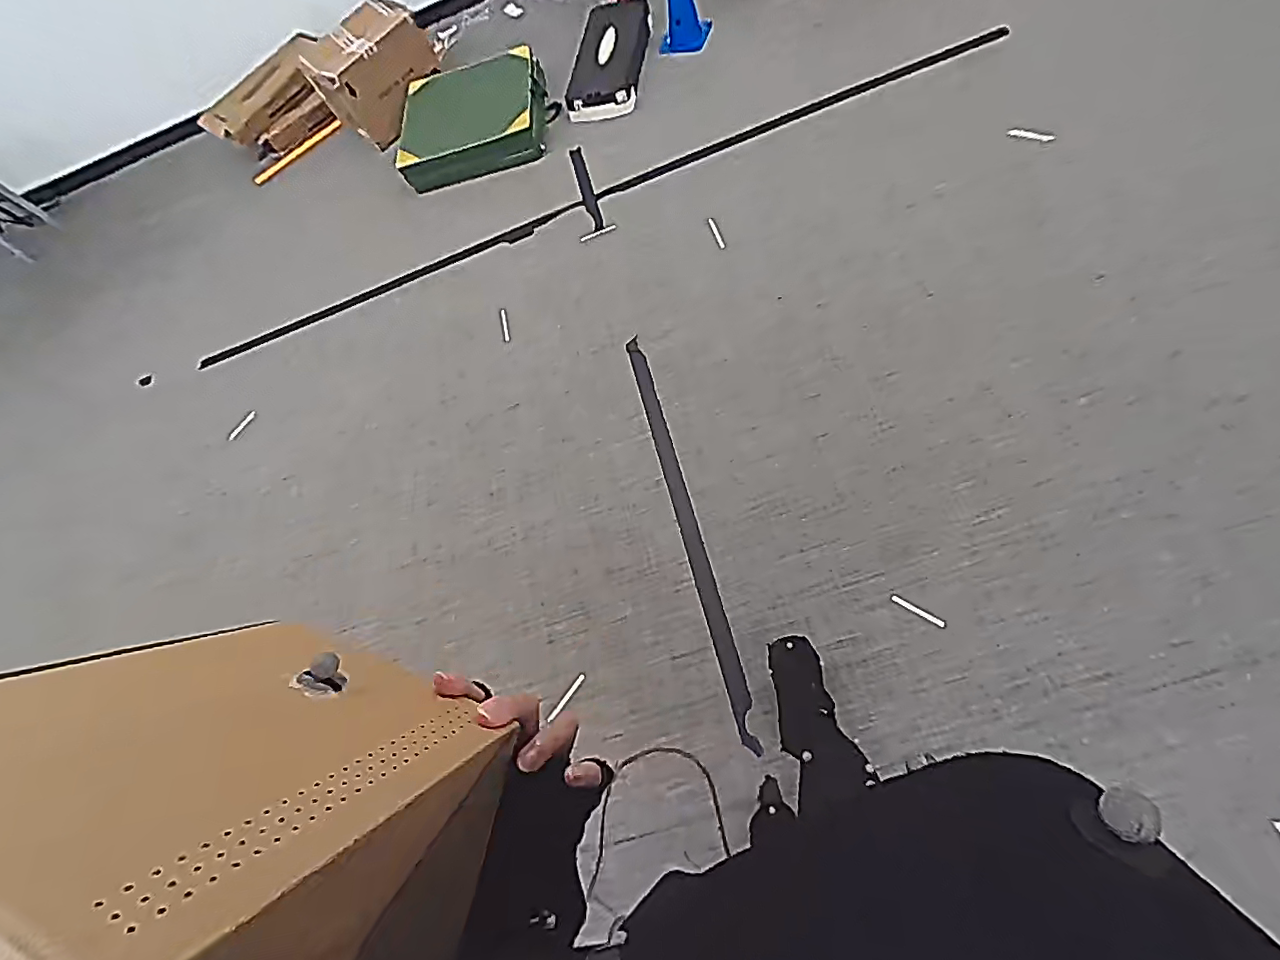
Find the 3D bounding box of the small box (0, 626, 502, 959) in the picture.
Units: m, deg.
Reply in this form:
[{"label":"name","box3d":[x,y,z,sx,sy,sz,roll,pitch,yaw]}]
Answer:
[{"label":"small box","box3d":[-0.179,0.184,0.239,0.176,0.179,0.168,14,90,17]}]
